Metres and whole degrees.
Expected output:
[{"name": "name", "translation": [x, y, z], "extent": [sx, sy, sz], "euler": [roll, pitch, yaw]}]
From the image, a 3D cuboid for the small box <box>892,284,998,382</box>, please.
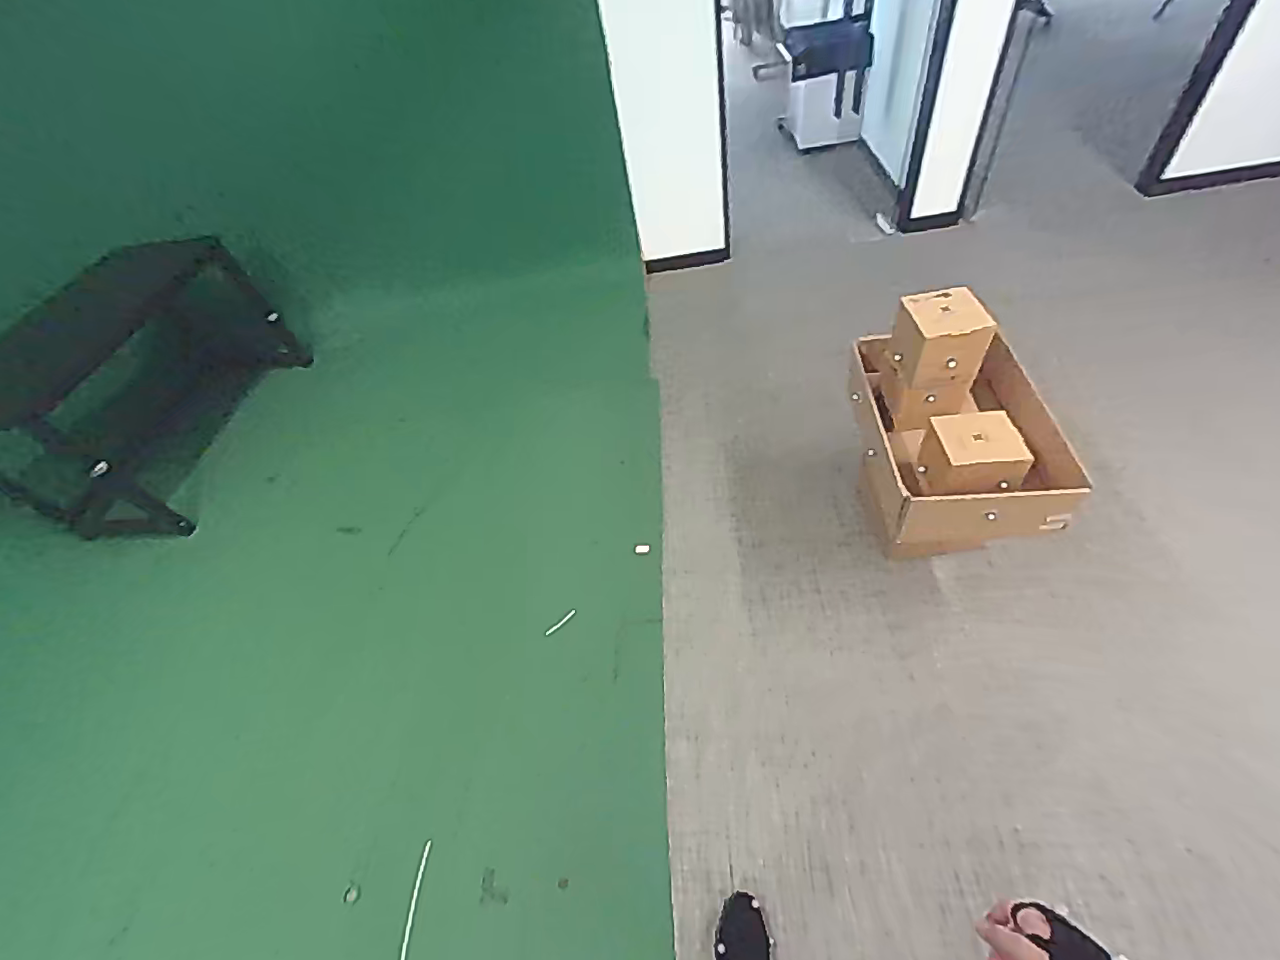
[{"name": "small box", "translation": [0.765, -0.366, 1.377], "extent": [0.168, 0.176, 0.179], "euler": [-8, 51, 6]}]
